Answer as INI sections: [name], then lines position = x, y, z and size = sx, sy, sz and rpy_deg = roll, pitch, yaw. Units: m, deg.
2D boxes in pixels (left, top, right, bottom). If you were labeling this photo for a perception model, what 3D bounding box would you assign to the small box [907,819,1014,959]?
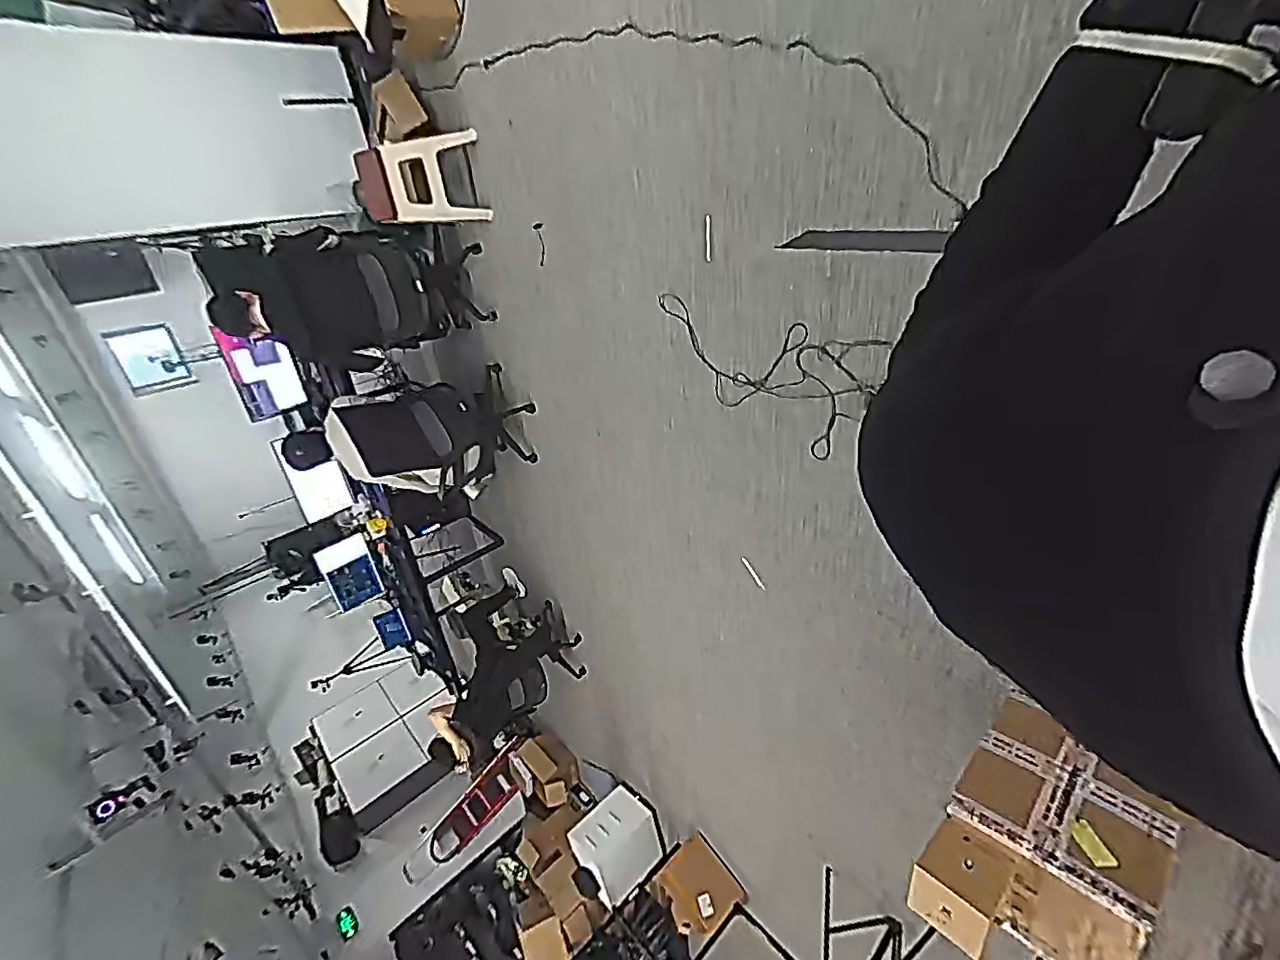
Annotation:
[small box]
position = 0.778, 0.980, 1.312
size = 0.168, 0.176, 0.179
rpy_deg = 22, 127, 46
